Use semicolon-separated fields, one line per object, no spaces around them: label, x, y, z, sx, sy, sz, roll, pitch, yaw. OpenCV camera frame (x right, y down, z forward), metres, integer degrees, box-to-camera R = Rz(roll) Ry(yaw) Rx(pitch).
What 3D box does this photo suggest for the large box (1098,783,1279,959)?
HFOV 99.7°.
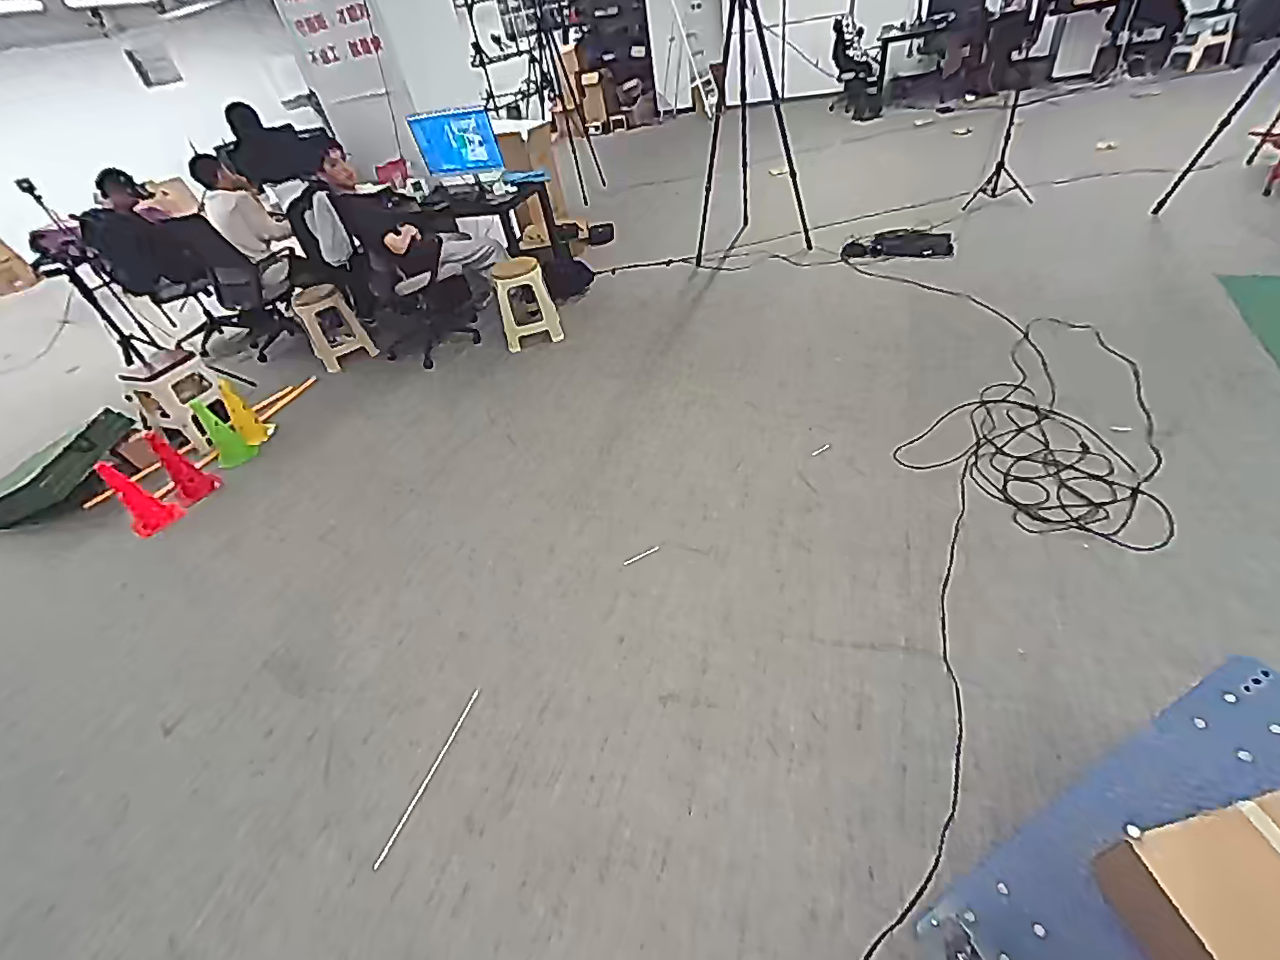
large box;0.928;0.664;0.705;0.320;0.320;0.408;-24;43;8
